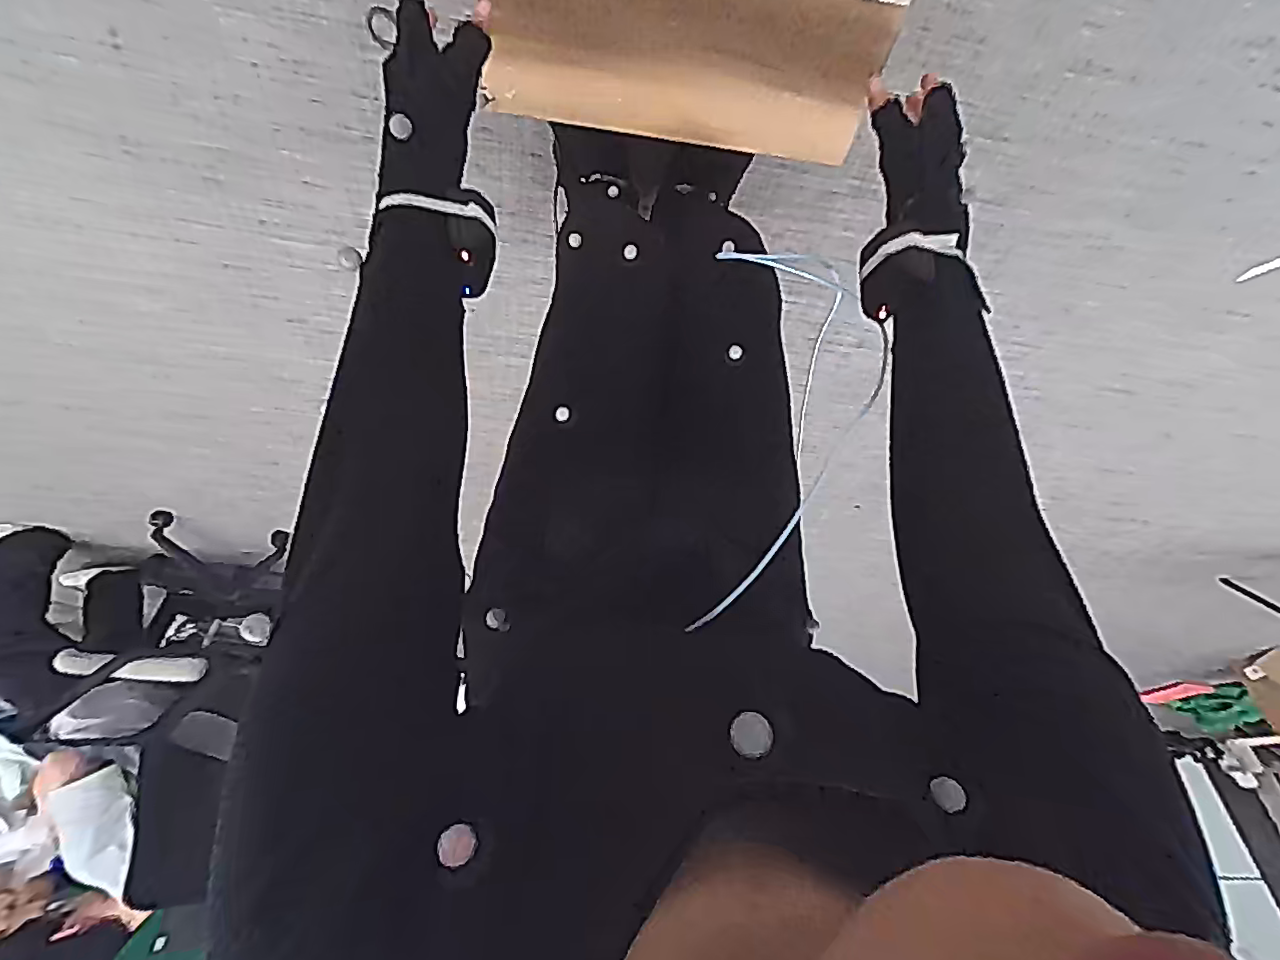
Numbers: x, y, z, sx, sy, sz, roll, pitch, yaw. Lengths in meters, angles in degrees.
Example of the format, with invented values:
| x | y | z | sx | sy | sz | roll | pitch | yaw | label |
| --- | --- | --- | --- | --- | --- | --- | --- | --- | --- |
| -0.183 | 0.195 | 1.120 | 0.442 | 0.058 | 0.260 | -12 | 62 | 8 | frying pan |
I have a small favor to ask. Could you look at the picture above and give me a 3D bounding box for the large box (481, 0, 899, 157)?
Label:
| x | y | z | sx | sy | sz | roll | pitch | yaw | label |
| --- | --- | --- | --- | --- | --- | --- | --- | --- | --- |
| 0.057 | -0.601 | 0.572 | 0.408 | 0.320 | 0.320 | 6 | 144 | -6 | large box |
